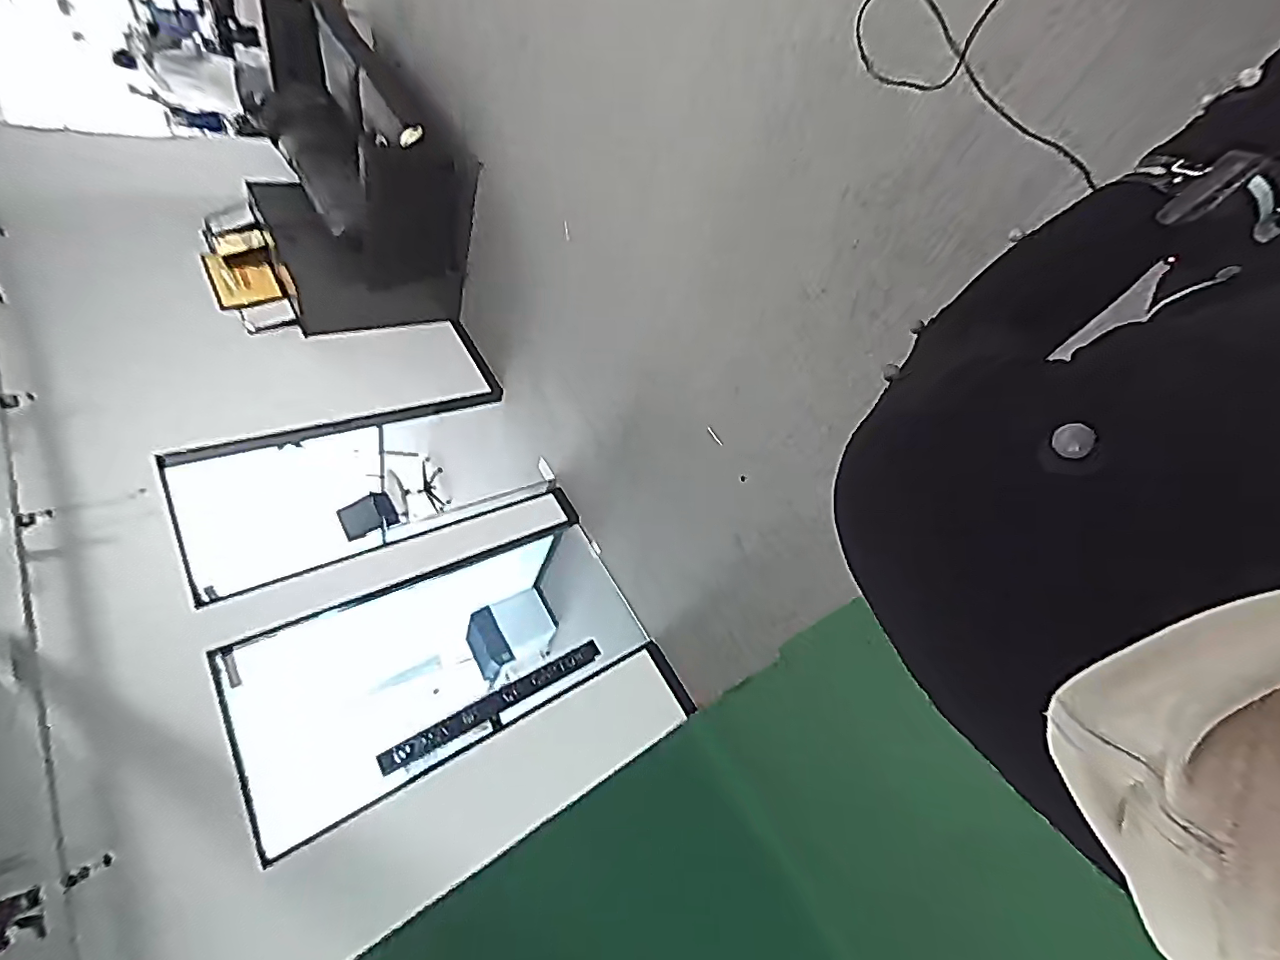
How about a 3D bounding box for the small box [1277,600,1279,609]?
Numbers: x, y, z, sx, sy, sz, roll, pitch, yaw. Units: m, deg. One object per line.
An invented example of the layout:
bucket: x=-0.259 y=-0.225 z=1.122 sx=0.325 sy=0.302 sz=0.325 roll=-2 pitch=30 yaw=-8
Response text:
small box: x=1.239 y=0.221 z=0.896 sx=0.179 sy=0.176 sz=0.168 roll=58 pitch=145 yaw=18
